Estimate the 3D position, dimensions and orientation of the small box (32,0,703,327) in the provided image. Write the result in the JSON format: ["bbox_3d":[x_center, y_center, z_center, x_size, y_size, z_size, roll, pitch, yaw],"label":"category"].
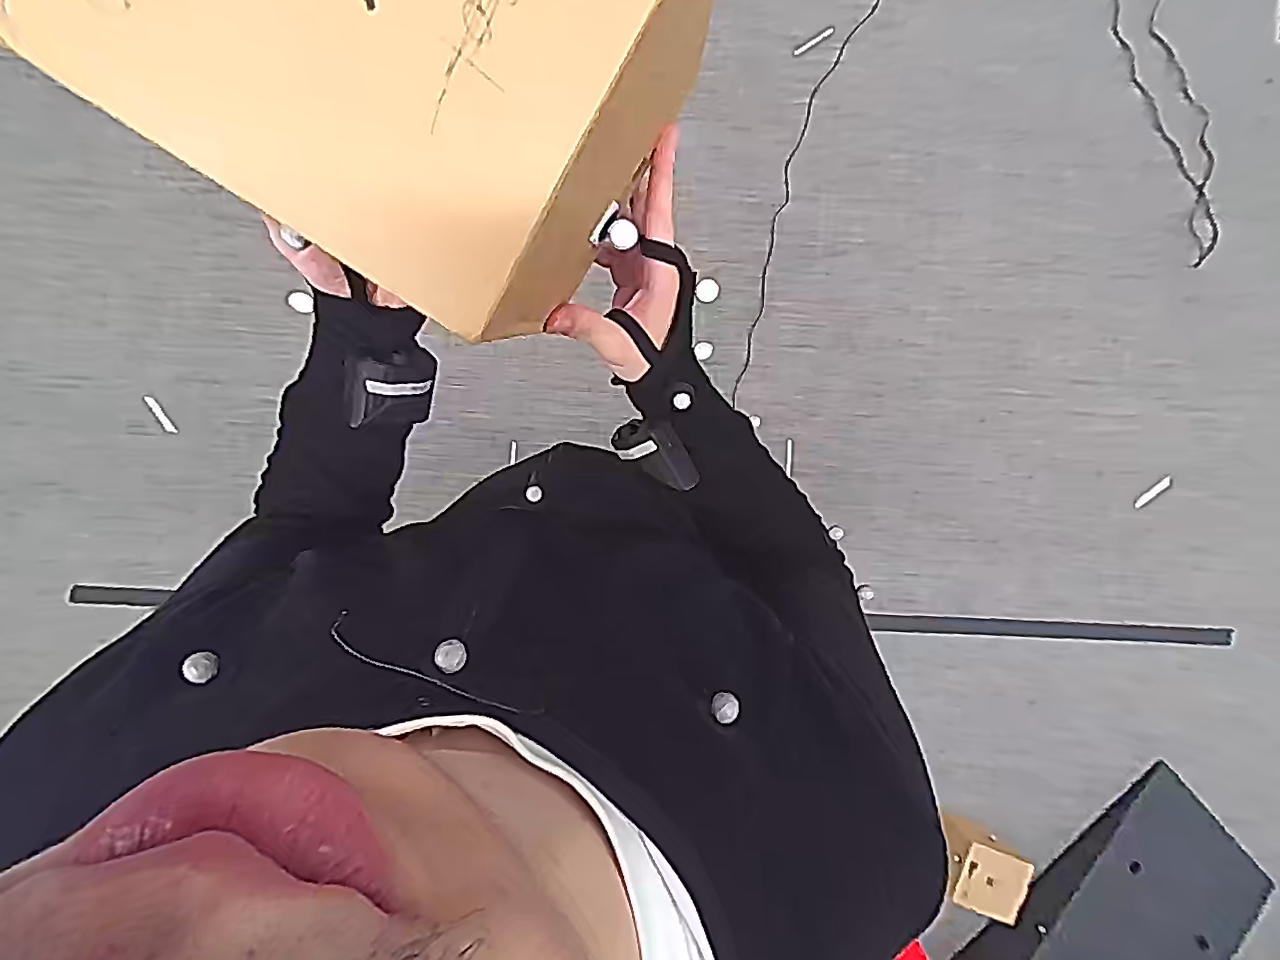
[{"bbox_3d":[-0.087,-0.187,0.249,0.179,0.176,0.168,31,106,-8],"label":"small box"}]
